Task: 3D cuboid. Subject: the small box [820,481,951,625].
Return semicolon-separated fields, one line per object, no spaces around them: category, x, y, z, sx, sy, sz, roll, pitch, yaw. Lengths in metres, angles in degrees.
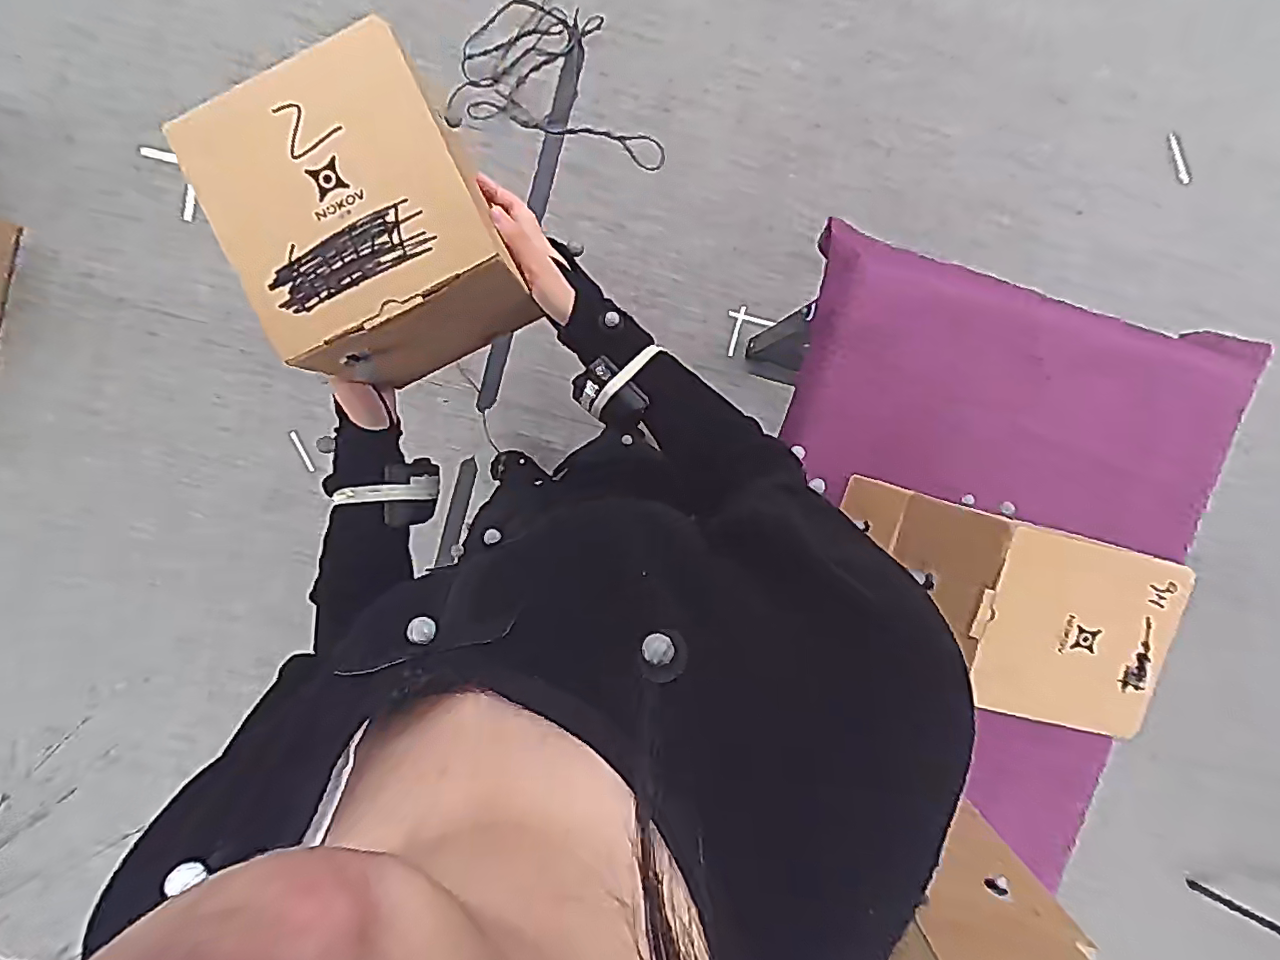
small box;0.366;0.104;0.715;0.179;0.176;0.168;16;96;-5

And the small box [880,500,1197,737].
small box;0.380;0.124;0.553;0.179;0.176;0.168;14;96;-4

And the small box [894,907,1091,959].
small box;0.307;0.492;0.428;0.179;0.176;0.168;15;97;-4
